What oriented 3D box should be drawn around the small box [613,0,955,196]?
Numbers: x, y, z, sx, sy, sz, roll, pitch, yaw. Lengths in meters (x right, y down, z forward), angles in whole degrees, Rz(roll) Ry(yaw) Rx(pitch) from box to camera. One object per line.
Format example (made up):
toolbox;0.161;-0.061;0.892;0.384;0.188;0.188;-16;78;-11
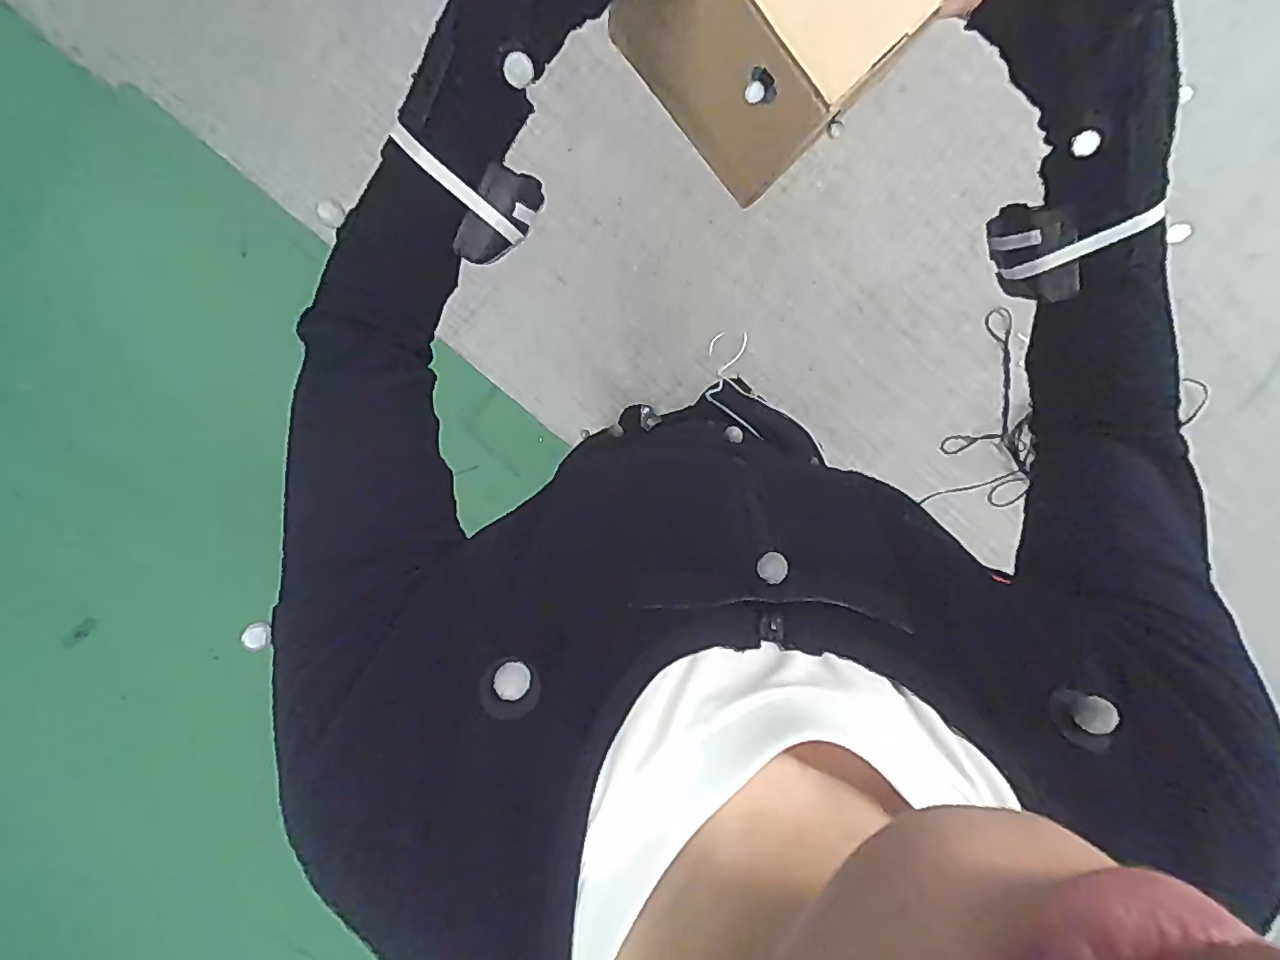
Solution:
small box;0.096;-0.340;0.372;0.168;0.176;0.179;-43;102;2
